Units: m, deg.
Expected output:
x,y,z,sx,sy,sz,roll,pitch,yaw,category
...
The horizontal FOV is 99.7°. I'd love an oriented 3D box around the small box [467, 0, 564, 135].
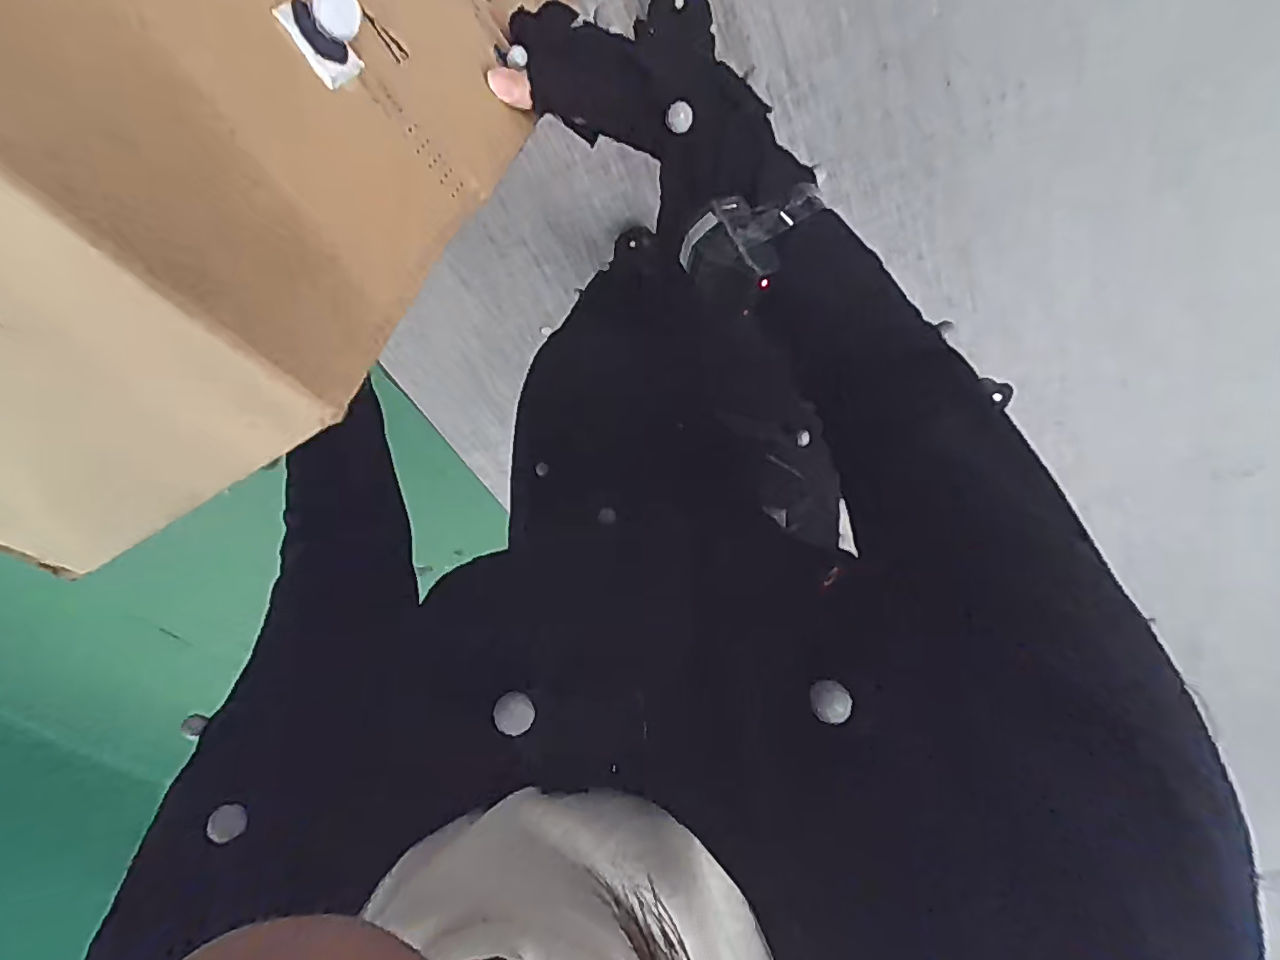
x,y,z,sx,sy,sz,roll,pitch,yaw,category
-0.178,-0.336,0.418,0.168,0.176,0.179,-22,133,26,small box
